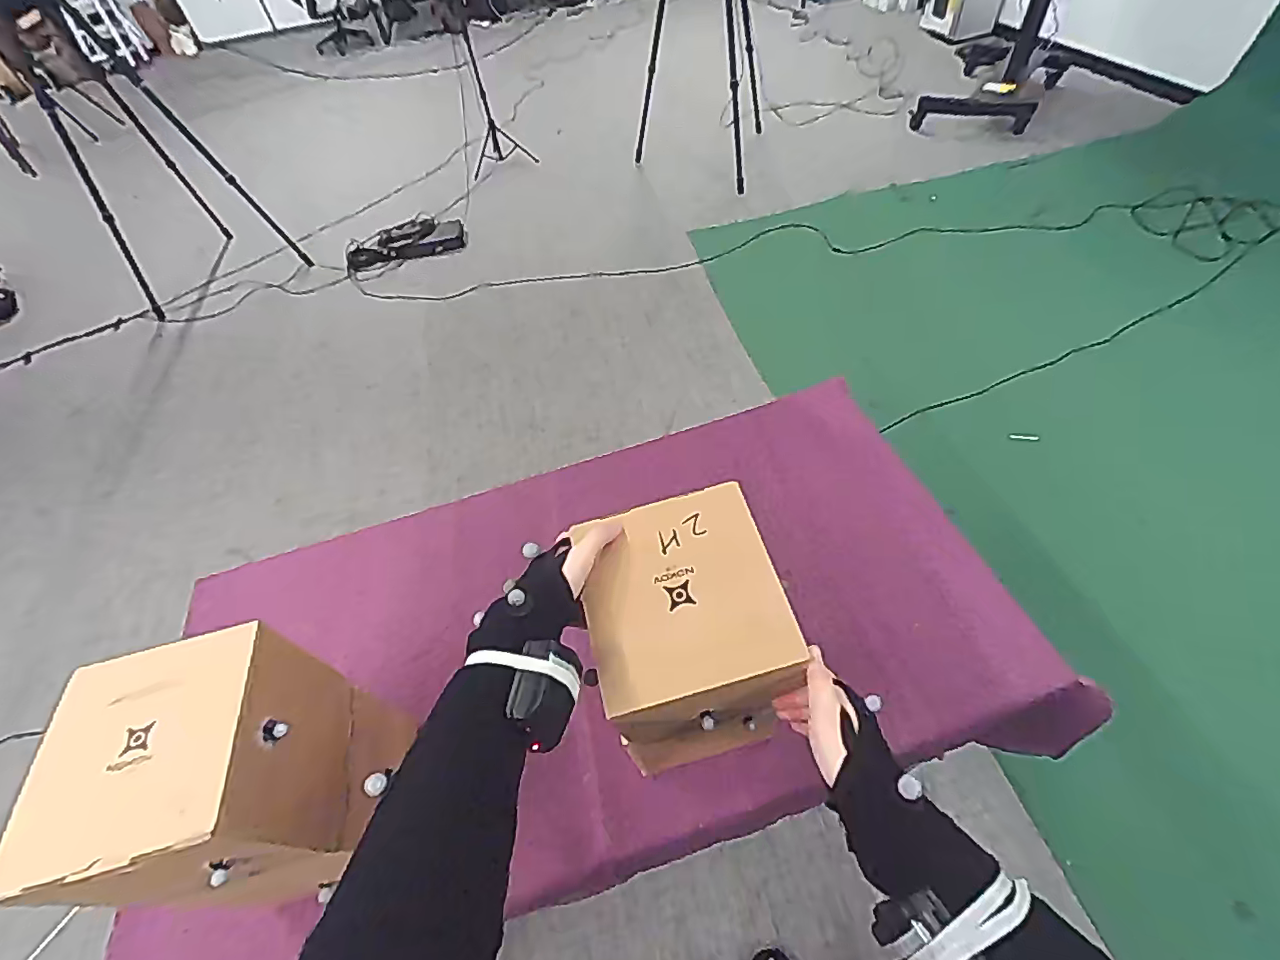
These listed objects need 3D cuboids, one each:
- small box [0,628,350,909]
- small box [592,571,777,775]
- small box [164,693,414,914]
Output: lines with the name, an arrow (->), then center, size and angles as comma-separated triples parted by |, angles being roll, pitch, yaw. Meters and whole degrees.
small box -> -0.398, 0.269, 0.503 | 0.168, 0.176, 0.179 | -14, 51, -3
small box -> 0.053, 0.242, 0.668 | 0.179, 0.176, 0.168 | -15, 51, -4
small box -> -0.379, 0.374, 0.627 | 0.179, 0.176, 0.168 | -16, 51, -5
